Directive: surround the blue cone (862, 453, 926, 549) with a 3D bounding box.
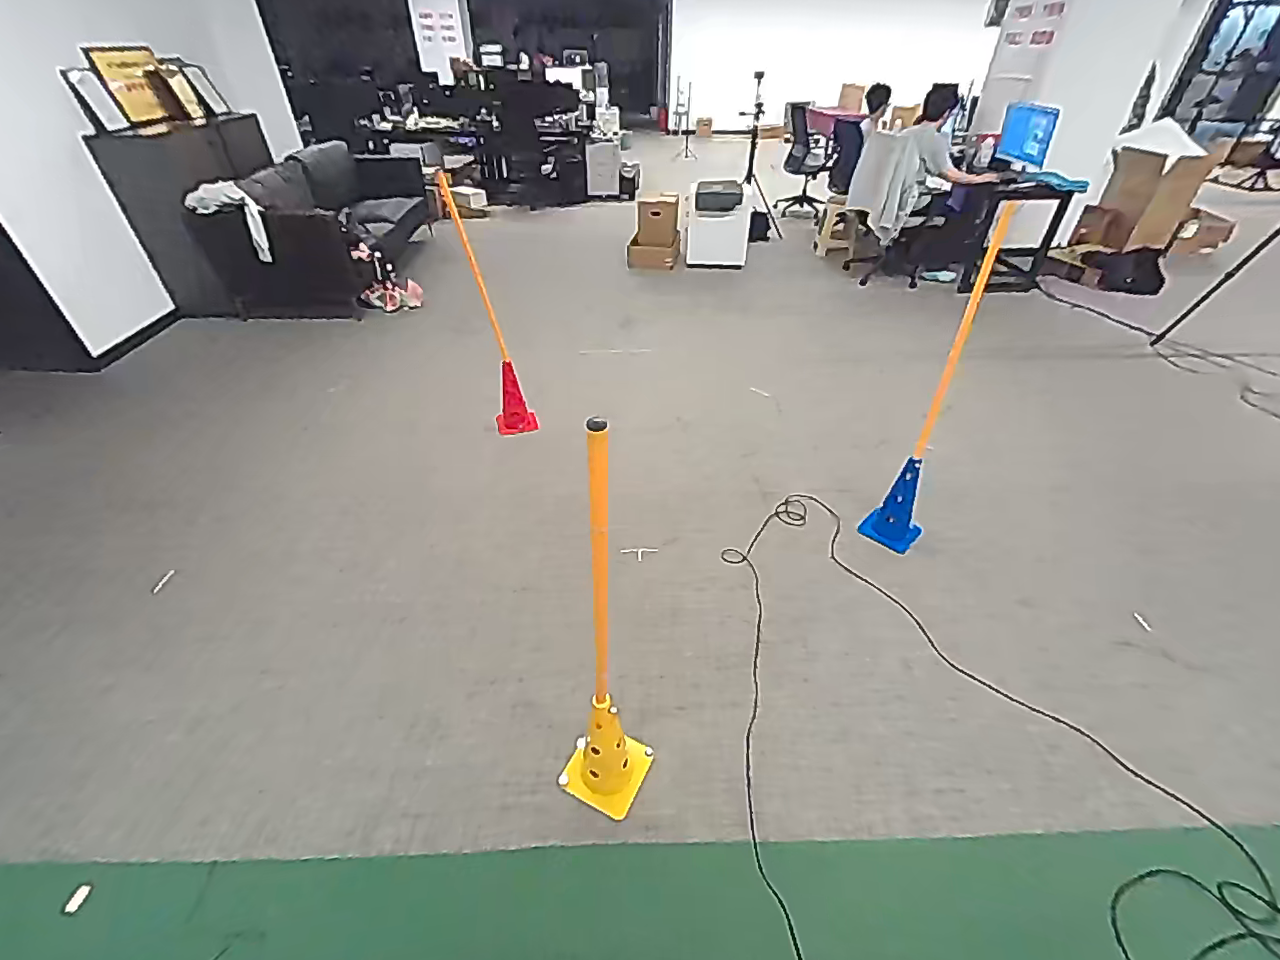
[{"bbox_3d":[1.013,0.059,2.084,0.192,0.380,0.193,29,44,33],"label":"blue cone"}]
